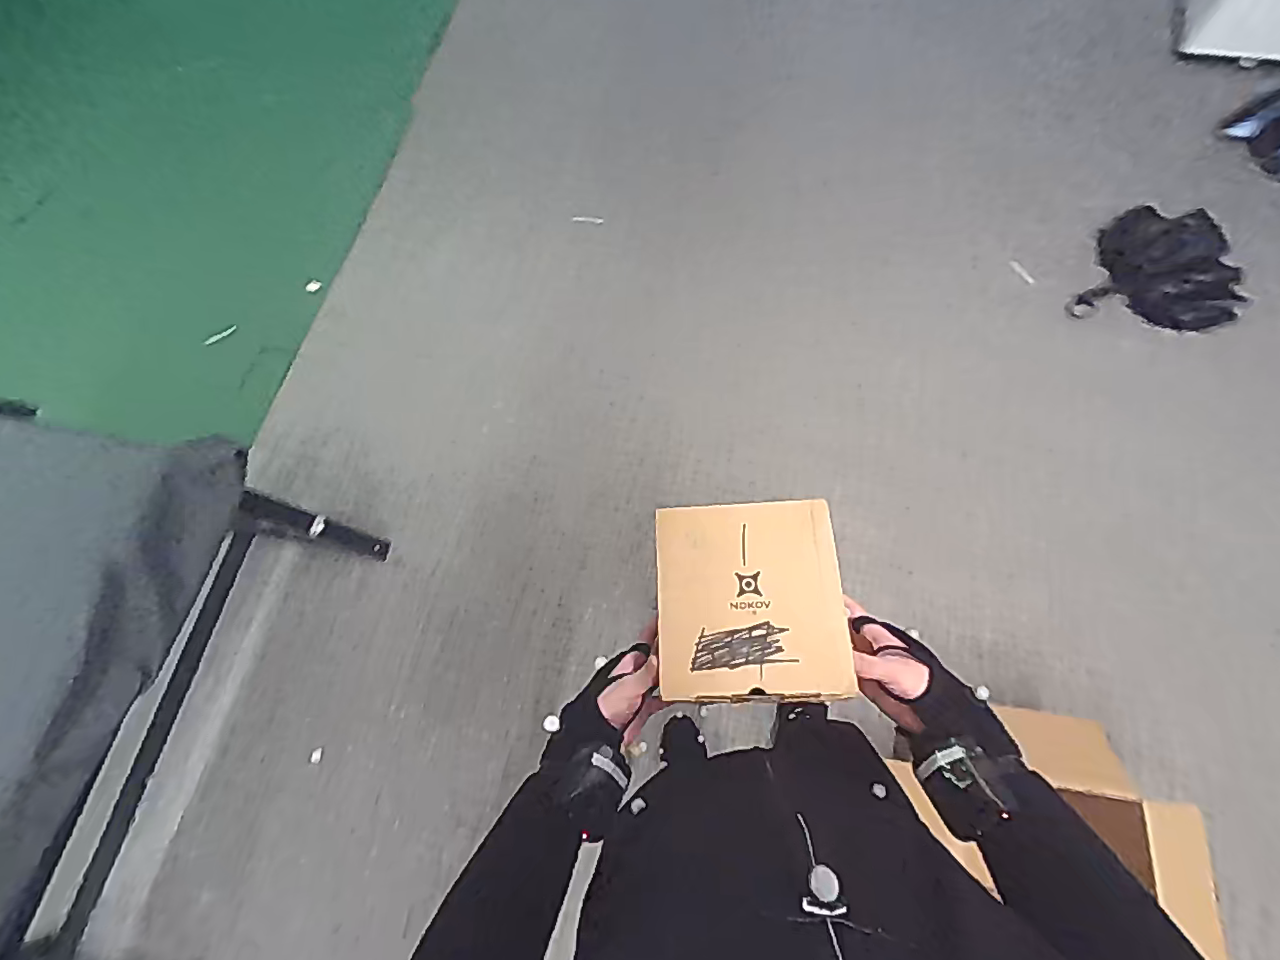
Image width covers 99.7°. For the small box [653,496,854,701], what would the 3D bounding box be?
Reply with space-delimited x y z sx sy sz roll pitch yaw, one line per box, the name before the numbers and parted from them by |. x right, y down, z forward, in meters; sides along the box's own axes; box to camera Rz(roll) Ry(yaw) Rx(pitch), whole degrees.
small box | 0.106 0.131 0.557 0.168 0.176 0.179 -5 66 6
